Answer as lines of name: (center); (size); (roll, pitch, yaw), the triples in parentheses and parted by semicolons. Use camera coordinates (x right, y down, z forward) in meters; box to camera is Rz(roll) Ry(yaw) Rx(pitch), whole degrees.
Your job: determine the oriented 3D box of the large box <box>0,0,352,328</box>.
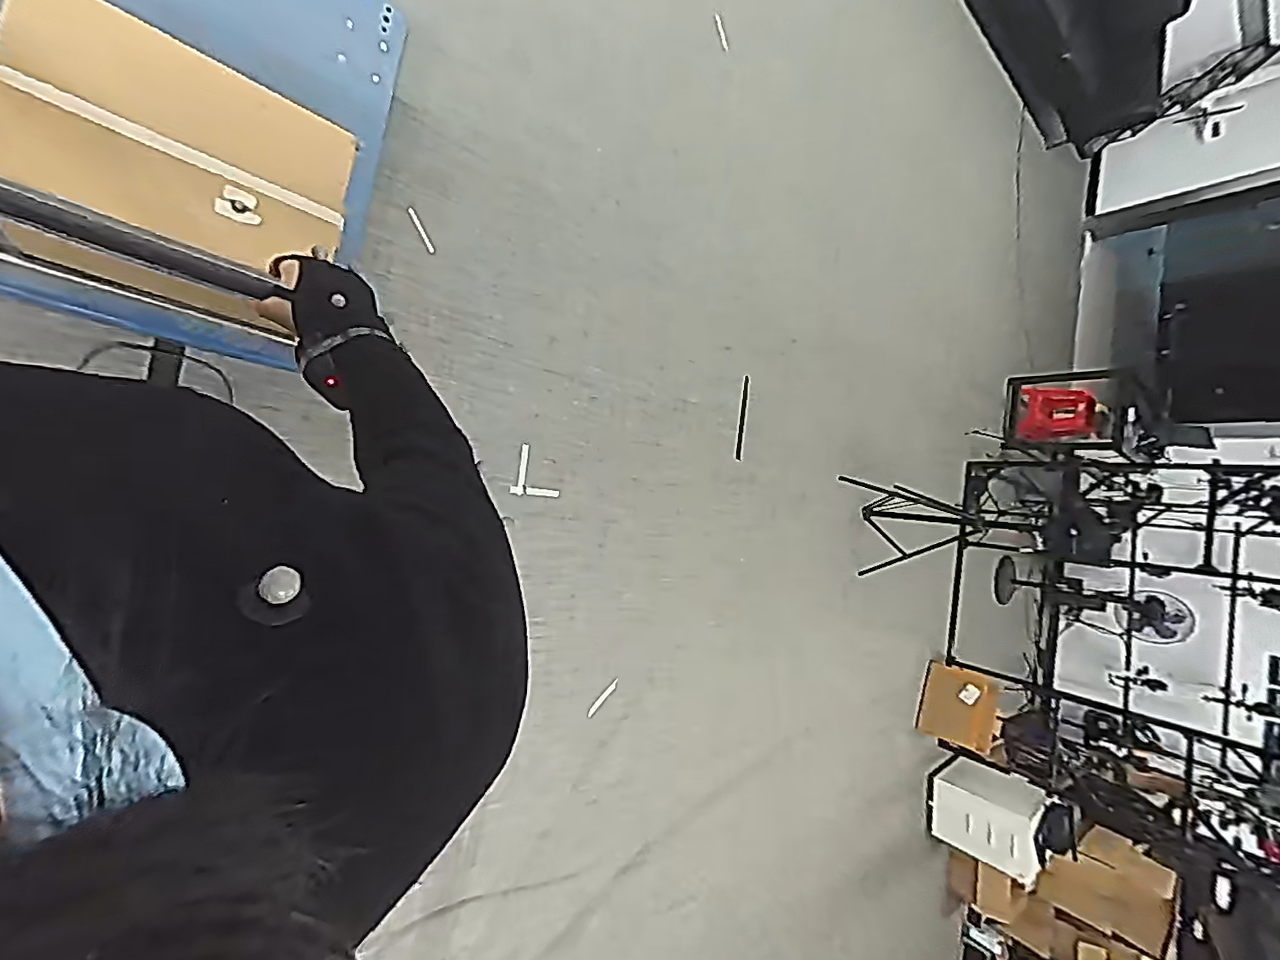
large box: (-0.774, -0.493, 0.921); (0.408, 0.320, 0.320); (14, 85, -40)
